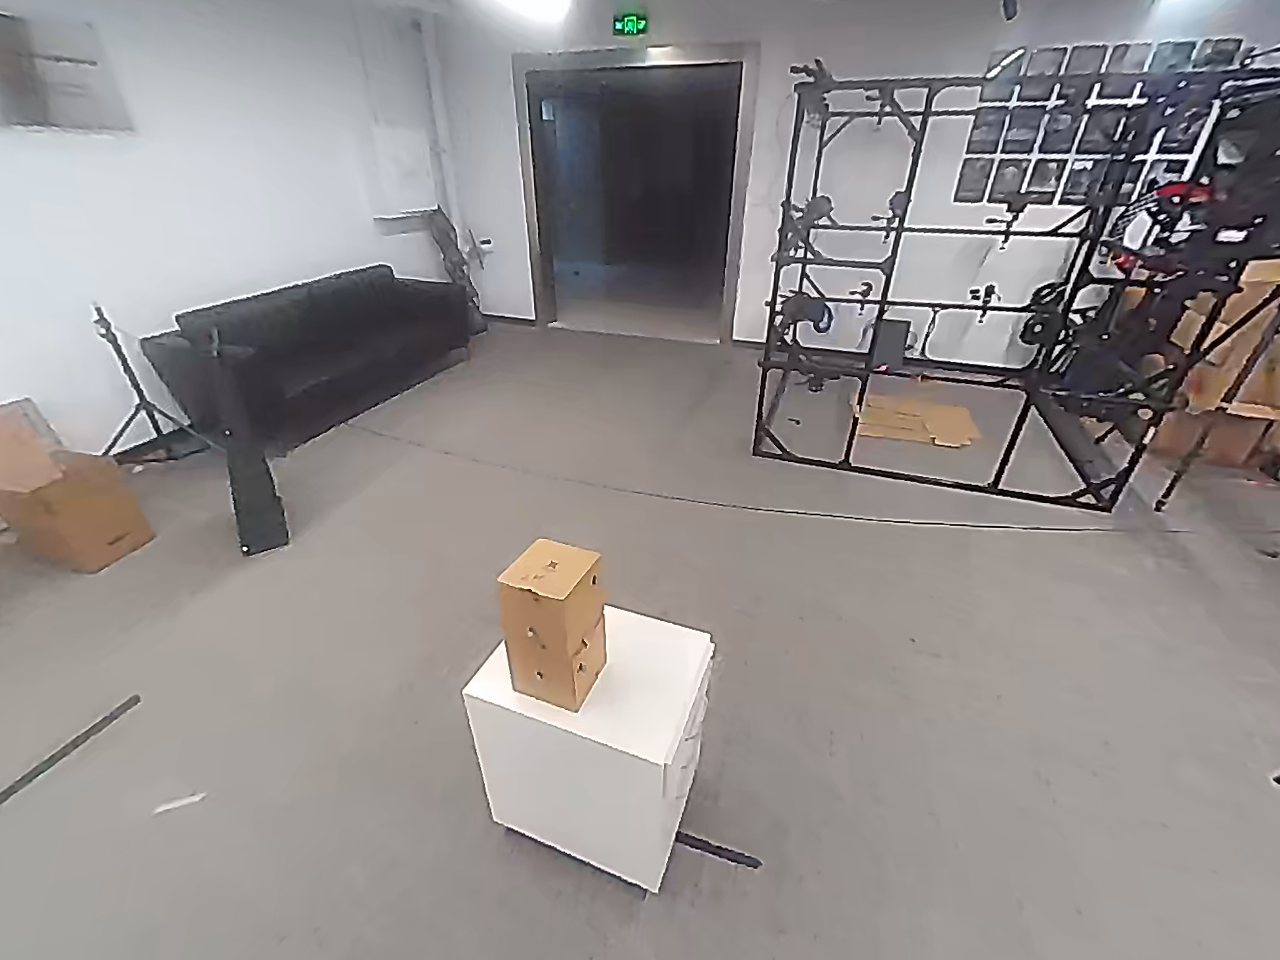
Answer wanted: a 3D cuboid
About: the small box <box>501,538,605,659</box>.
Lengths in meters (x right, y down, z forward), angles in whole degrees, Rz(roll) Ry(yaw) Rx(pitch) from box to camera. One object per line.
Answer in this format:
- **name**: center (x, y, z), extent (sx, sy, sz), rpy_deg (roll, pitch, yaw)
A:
- **small box**: center (-0.188, 0.262, 1.209), extent (0.168, 0.176, 0.179), rpy_deg (12, 31, 21)
